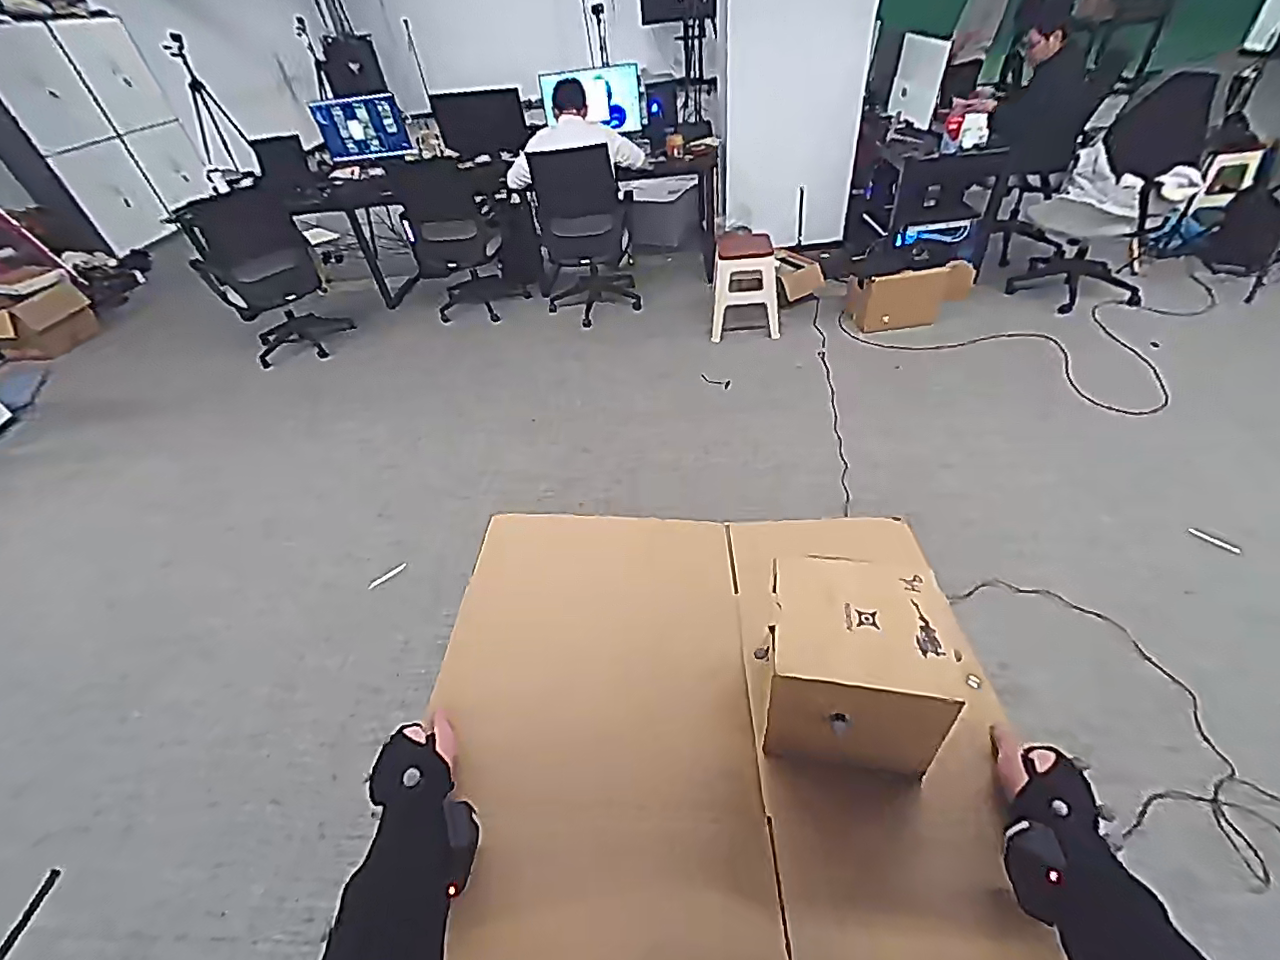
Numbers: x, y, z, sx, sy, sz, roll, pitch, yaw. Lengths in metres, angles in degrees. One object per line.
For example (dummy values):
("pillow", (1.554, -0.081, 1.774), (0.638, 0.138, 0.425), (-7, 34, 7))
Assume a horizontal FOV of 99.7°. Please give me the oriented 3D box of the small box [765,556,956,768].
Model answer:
("small box", (0.239, 0.211, 0.632), (0.179, 0.176, 0.168), (3, 41, 13))
